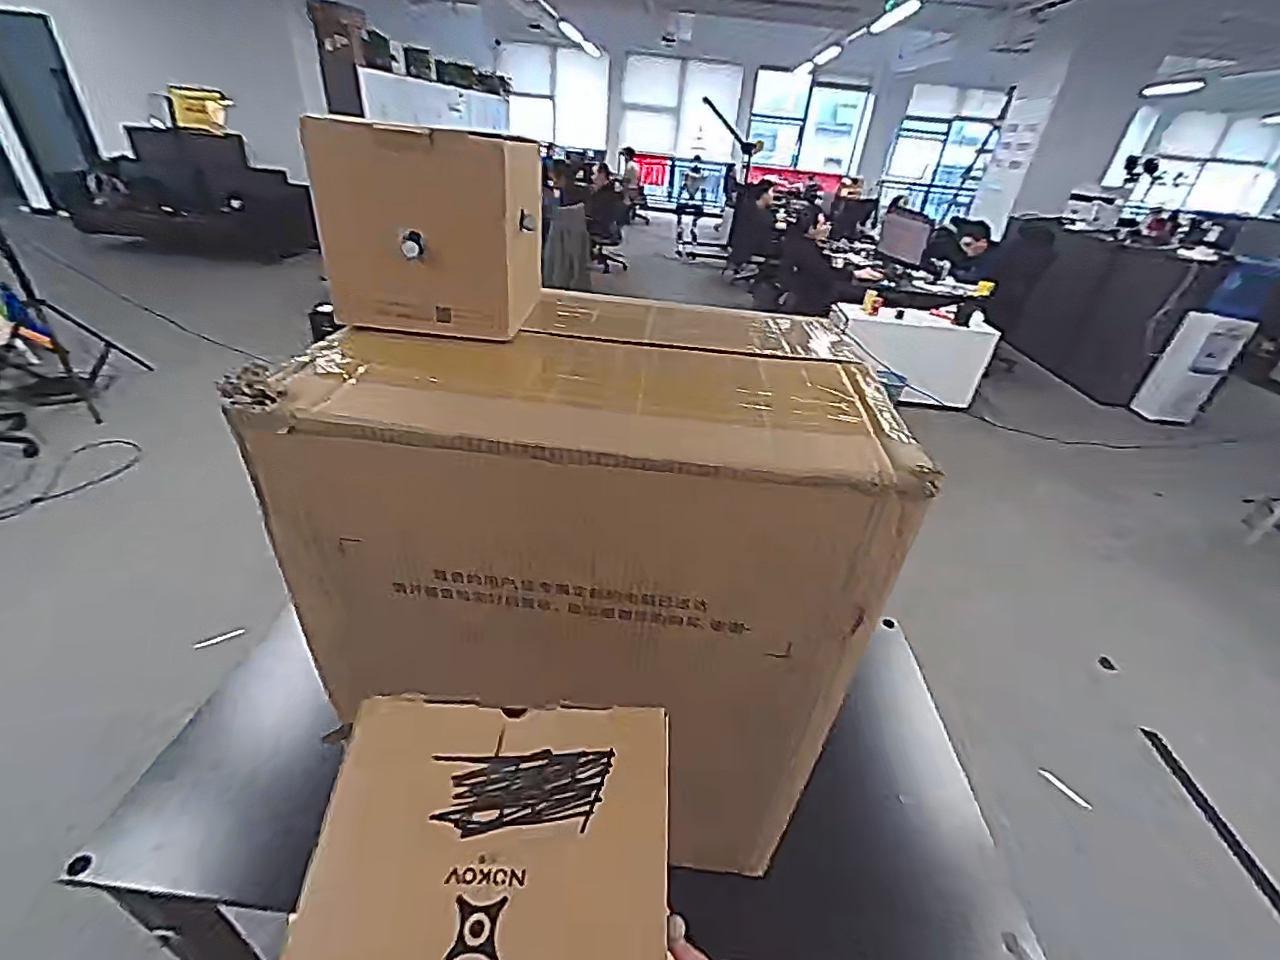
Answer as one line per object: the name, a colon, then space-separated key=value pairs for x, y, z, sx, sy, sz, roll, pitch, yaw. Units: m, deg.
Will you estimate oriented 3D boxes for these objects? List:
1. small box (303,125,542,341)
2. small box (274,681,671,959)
small box: x=-0.193 y=-0.249 z=0.544 sx=0.168 sy=0.176 sz=0.179 roll=5 pitch=31 yaw=-2
small box: x=-0.072 y=0.229 z=0.303 sx=0.168 sy=0.176 sz=0.179 roll=2 pitch=54 yaw=-1
